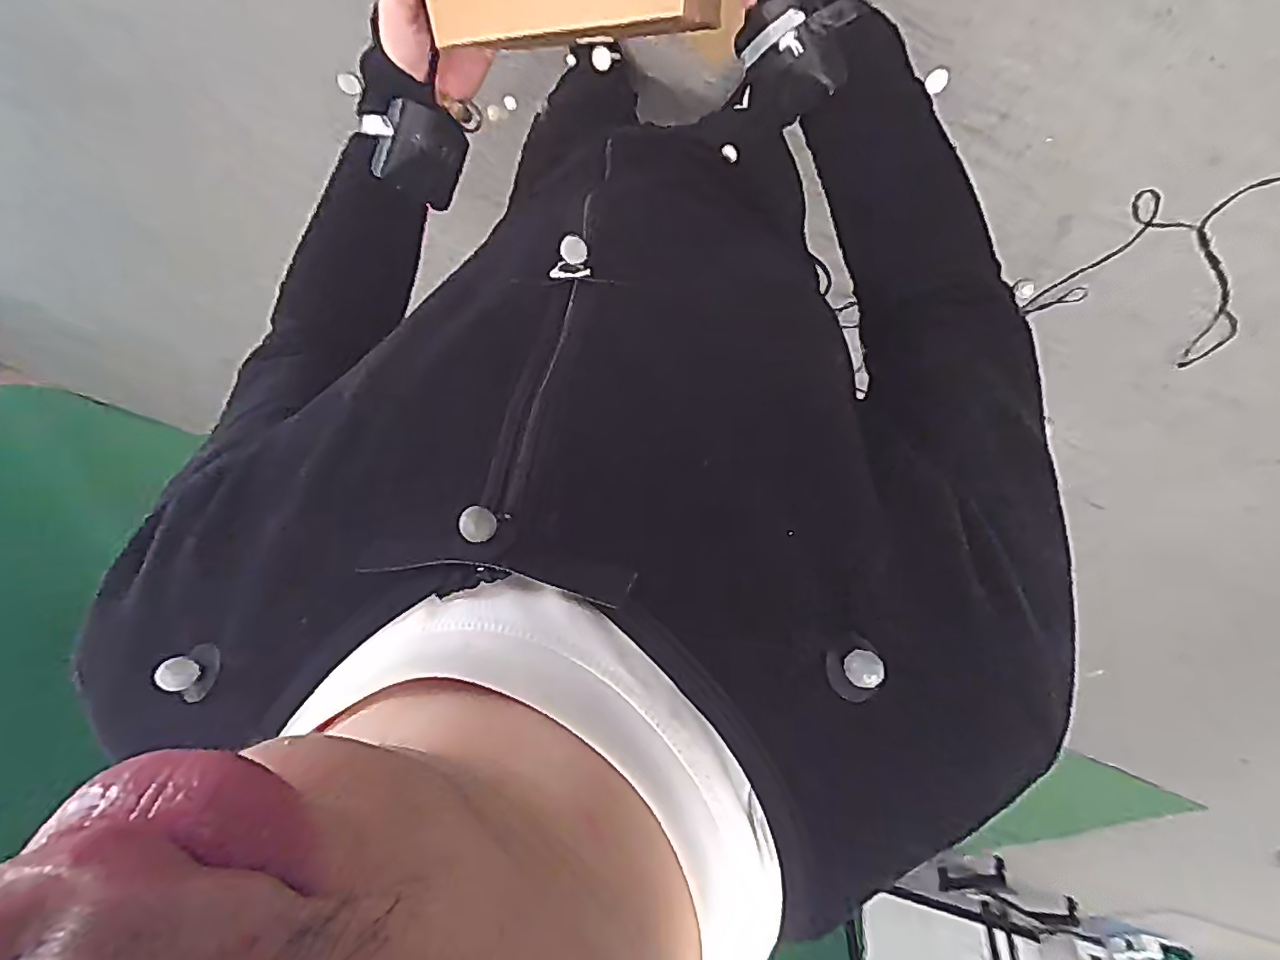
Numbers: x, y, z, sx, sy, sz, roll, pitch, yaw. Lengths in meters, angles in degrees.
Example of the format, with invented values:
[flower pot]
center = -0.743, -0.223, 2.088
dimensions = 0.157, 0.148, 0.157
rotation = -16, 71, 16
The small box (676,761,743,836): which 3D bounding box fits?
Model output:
[small box]
center = 0.237, 1.077, 1.830
dimensions = 0.168, 0.176, 0.179
rotation = 23, 135, -8
